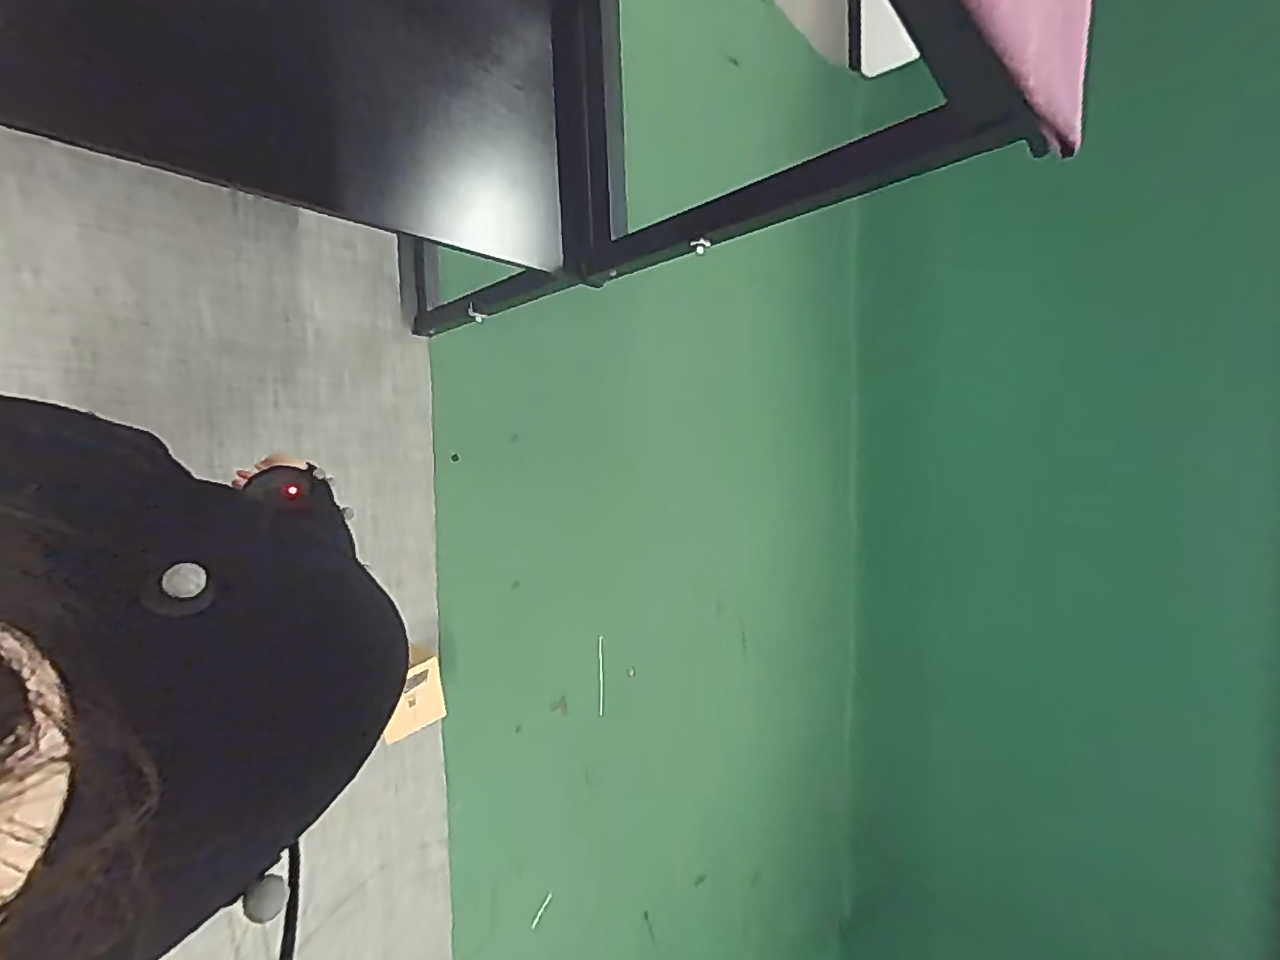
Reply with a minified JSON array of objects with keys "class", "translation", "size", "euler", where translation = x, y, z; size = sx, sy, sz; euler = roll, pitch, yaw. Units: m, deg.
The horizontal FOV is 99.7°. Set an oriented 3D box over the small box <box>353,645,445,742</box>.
[{"class":"small box","translation":[-0.655,0.564,1.464],"size":[0.168,0.176,0.179],"euler":[-14,103,-45]}]
